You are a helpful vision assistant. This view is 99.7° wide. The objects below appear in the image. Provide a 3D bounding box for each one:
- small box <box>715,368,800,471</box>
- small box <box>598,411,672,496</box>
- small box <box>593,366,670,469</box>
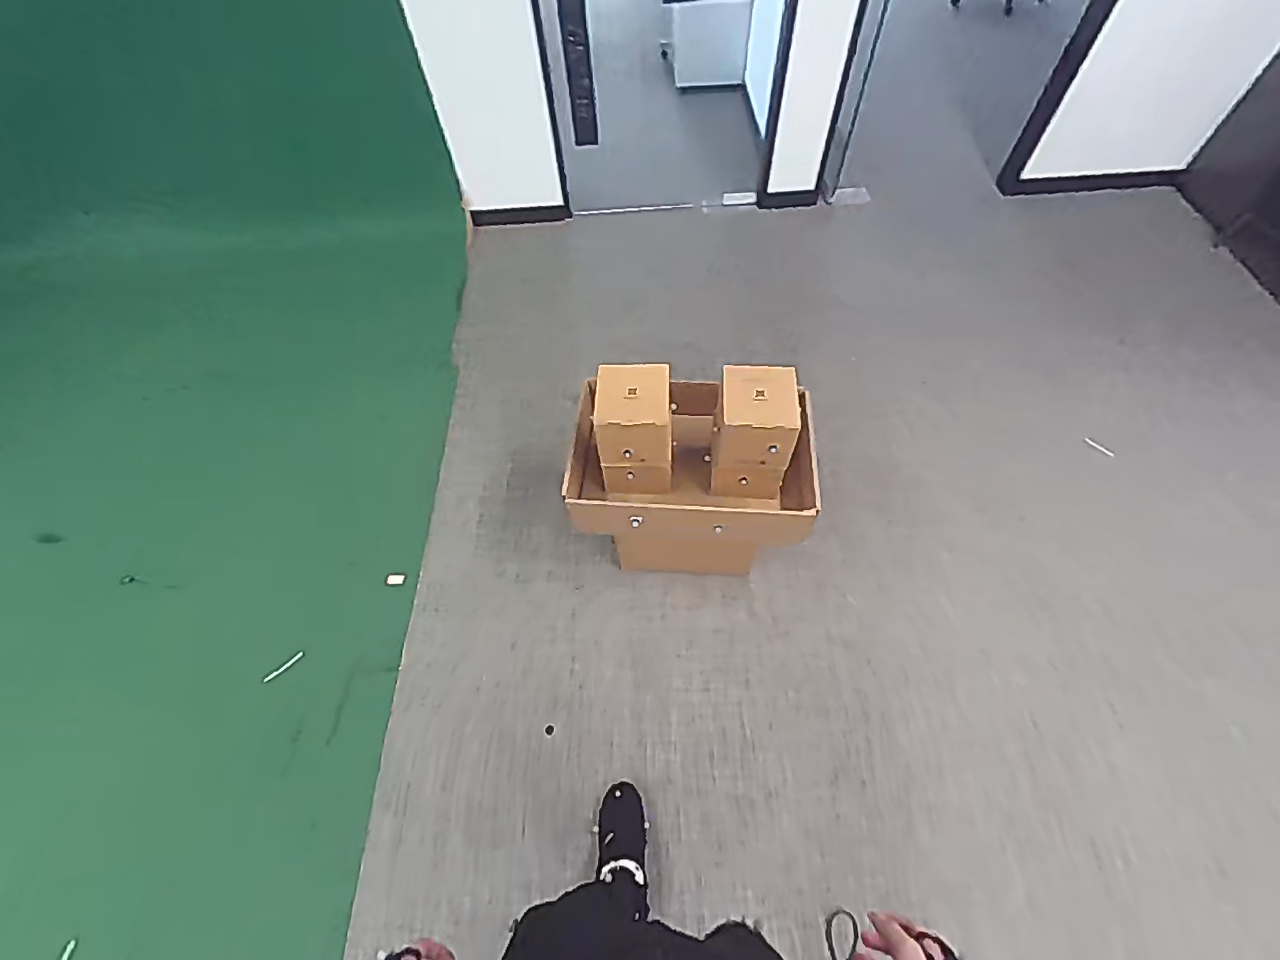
[{"bbox_3d":[0.266,-0.136,1.251,0.168,0.176,0.179,4,57,3],"label":"small box"},{"bbox_3d":[-0.007,-0.068,1.412,0.179,0.176,0.168,1,58,3],"label":"small box"},{"bbox_3d":[-0.016,-0.145,1.270,0.168,0.176,0.179,1,58,2],"label":"small box"}]
